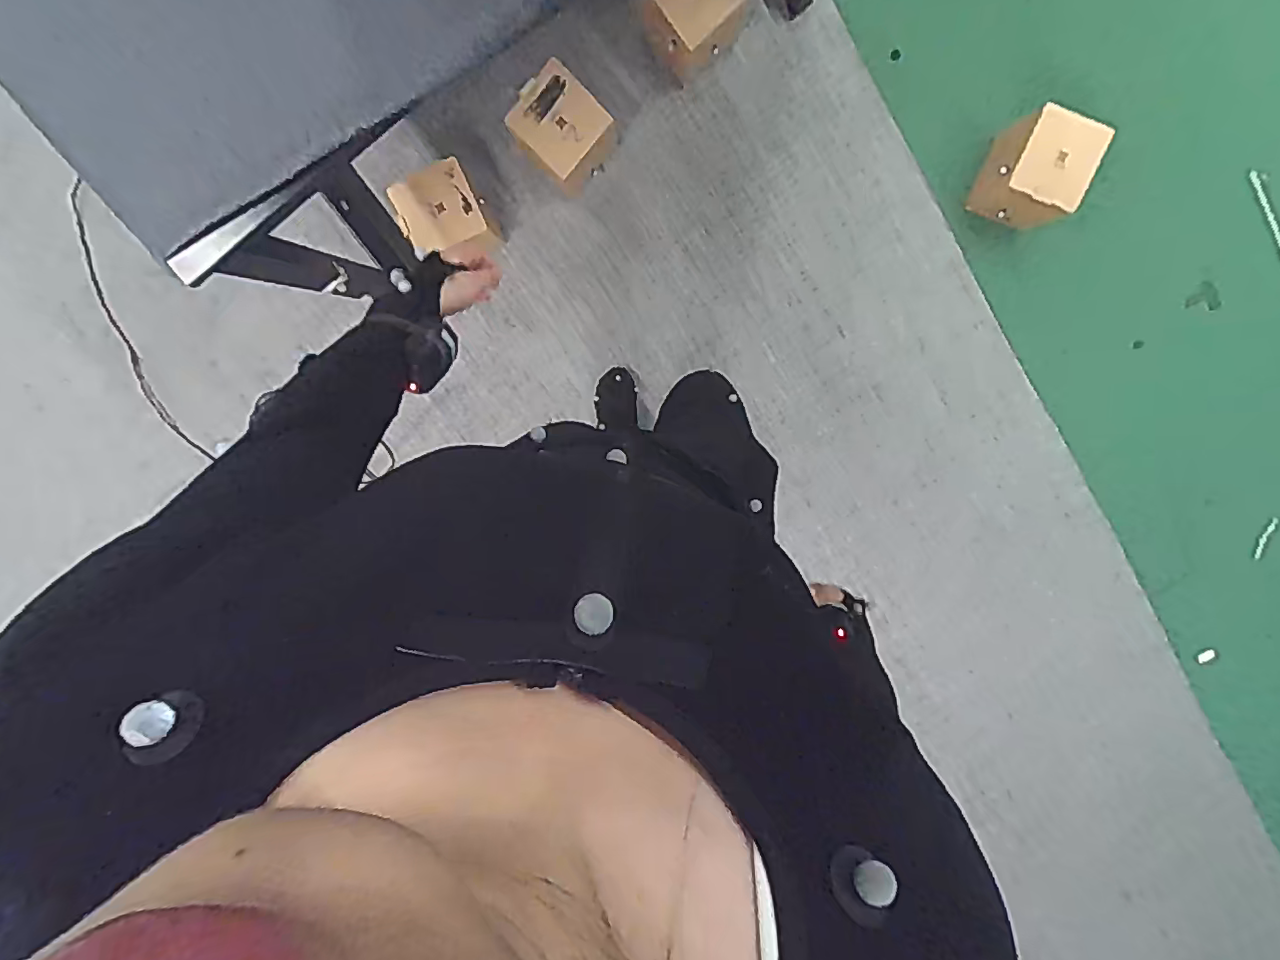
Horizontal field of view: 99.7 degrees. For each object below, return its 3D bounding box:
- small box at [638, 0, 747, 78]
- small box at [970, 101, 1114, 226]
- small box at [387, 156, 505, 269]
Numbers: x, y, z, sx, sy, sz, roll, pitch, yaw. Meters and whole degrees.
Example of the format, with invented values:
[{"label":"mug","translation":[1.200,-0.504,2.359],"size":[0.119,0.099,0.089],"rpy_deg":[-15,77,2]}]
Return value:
[{"label":"small box","translation":[0.111,-1.017,1.165],"size":[0.168,0.176,0.179],"rpy_deg":[-39,100,8]},{"label":"small box","translation":[0.900,-0.709,1.233],"size":[0.168,0.176,0.179],"rpy_deg":[19,103,-4]},{"label":"small box","translation":[-0.446,-0.615,1.269],"size":[0.179,0.176,0.168],"rpy_deg":[-22,102,7]}]
